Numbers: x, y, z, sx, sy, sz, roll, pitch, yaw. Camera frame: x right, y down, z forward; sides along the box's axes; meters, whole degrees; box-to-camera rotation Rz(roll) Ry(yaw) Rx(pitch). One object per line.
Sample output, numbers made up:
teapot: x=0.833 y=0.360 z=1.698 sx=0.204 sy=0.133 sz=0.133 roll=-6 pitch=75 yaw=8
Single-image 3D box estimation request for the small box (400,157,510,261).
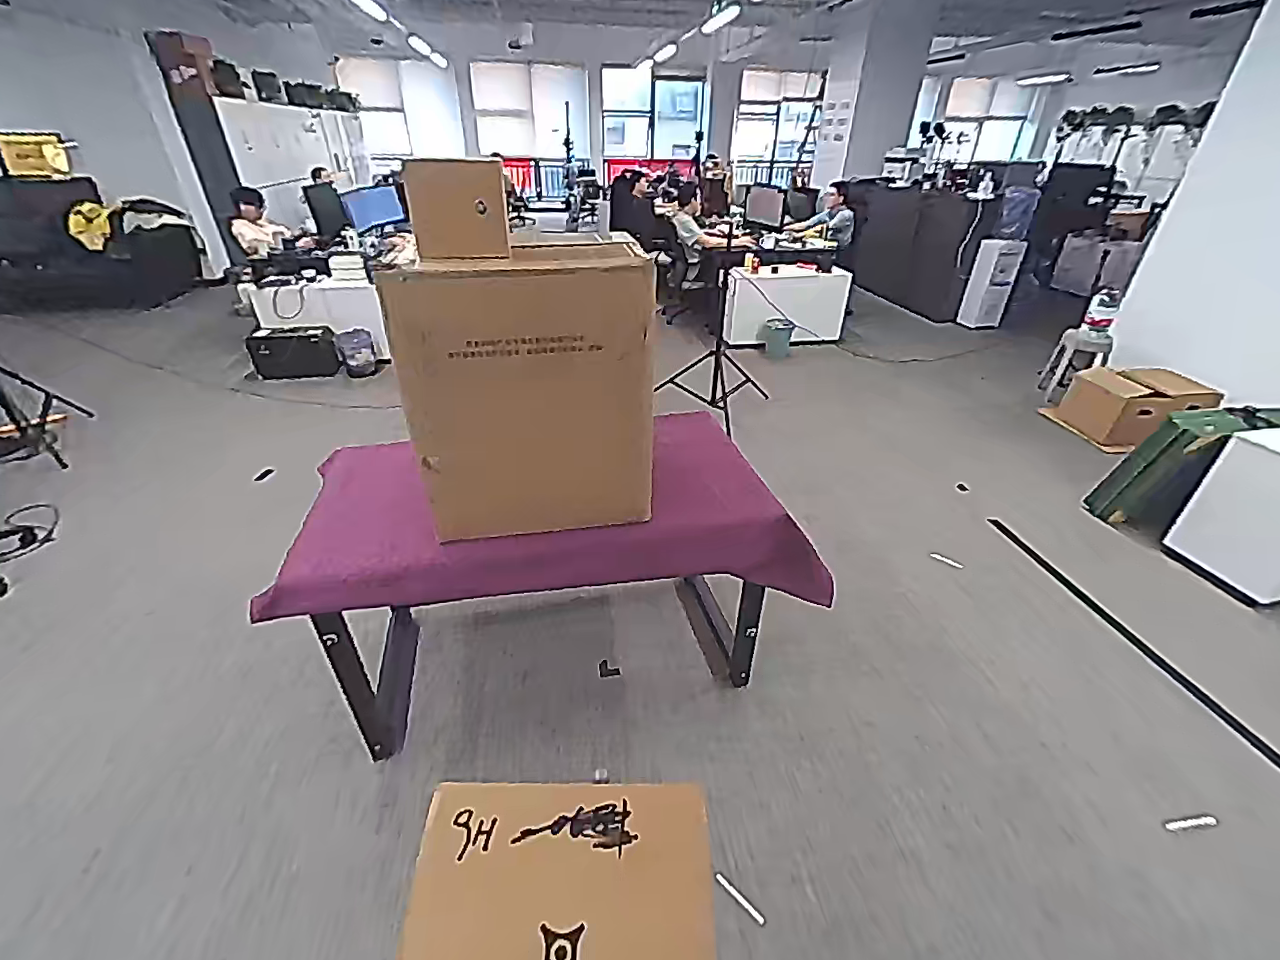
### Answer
small box: x=-0.355 y=-0.539 z=1.076 sx=0.179 sy=0.176 sz=0.168 roll=-6 pitch=32 yaw=-10
